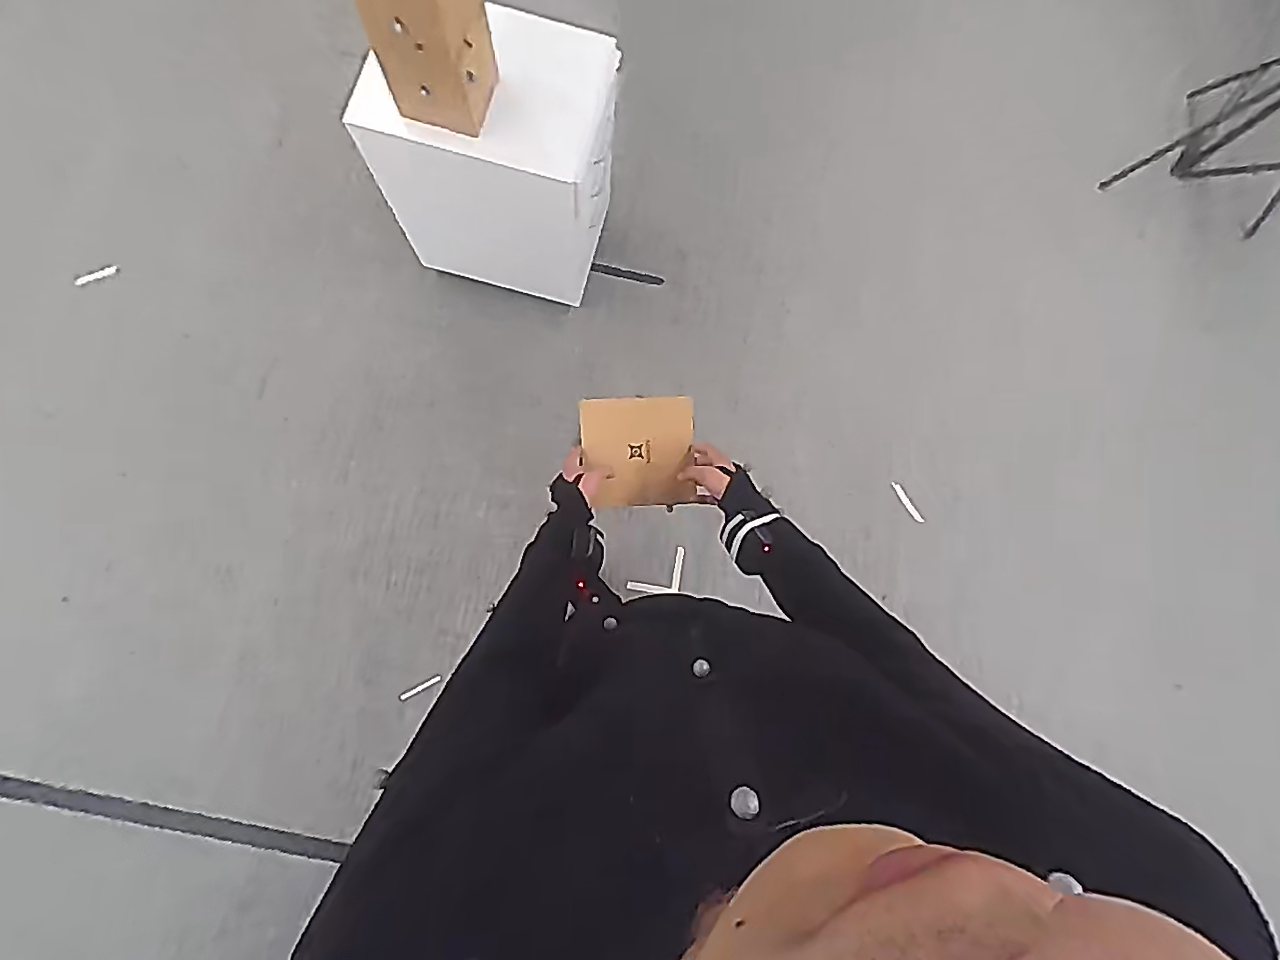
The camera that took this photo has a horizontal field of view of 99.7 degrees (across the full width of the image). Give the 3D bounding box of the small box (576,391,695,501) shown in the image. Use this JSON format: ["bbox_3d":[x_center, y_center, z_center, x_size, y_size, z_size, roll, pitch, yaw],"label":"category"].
[{"bbox_3d":[-0.012,-0.053,0.897,0.179,0.176,0.168,-3,92,-6],"label":"small box"}]

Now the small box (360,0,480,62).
[{"bbox_3d":[-0.392,-0.891,0.939,0.168,0.176,0.179,16,79,-1],"label":"small box"}]
